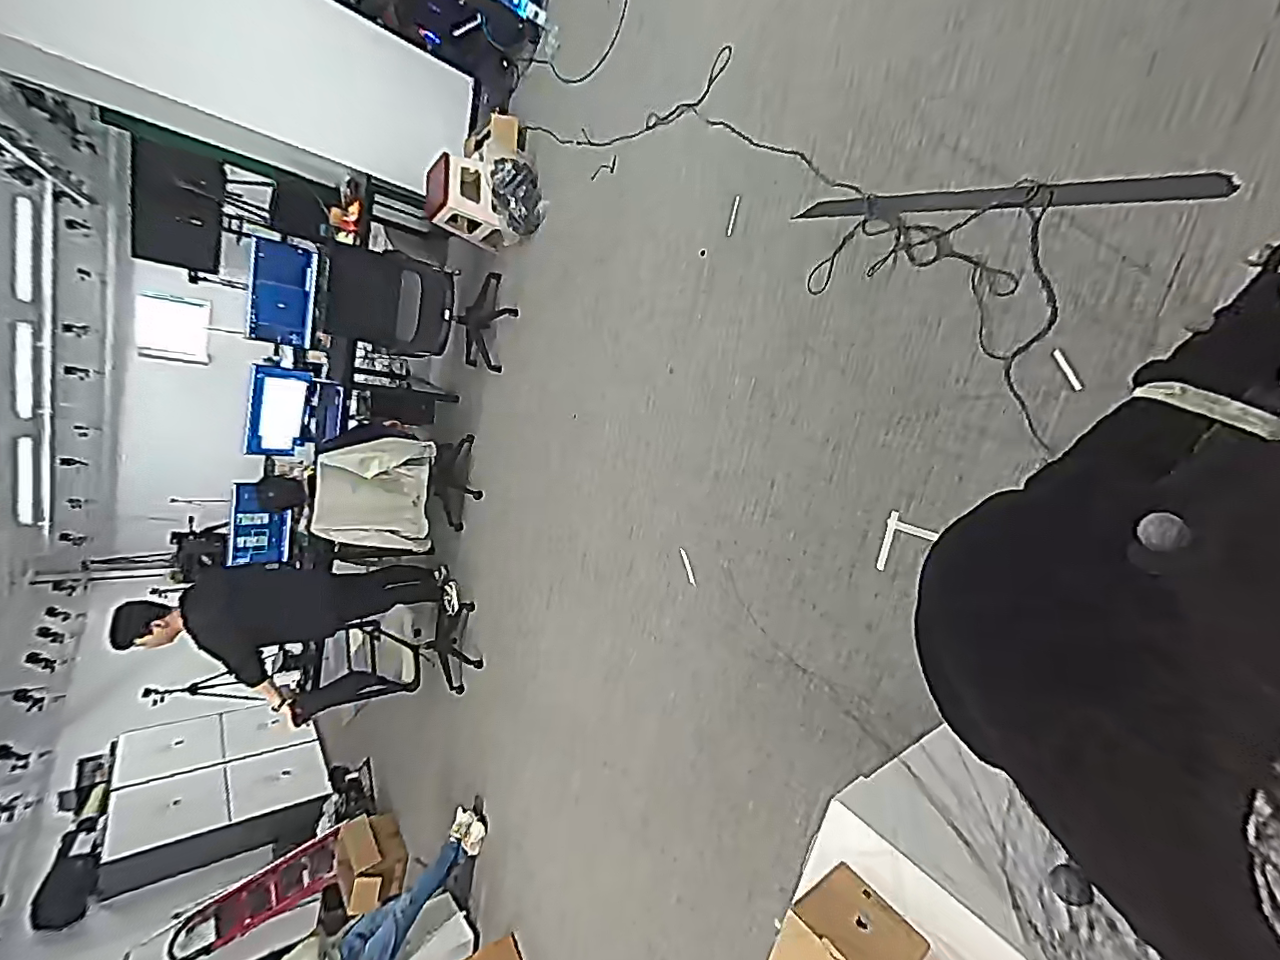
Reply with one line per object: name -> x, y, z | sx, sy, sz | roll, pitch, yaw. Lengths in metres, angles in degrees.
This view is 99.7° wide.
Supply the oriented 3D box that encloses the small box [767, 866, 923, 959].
small box -> 0.333, 0.789, 0.885 | 0.168, 0.176, 0.179 | 29, 109, 46
